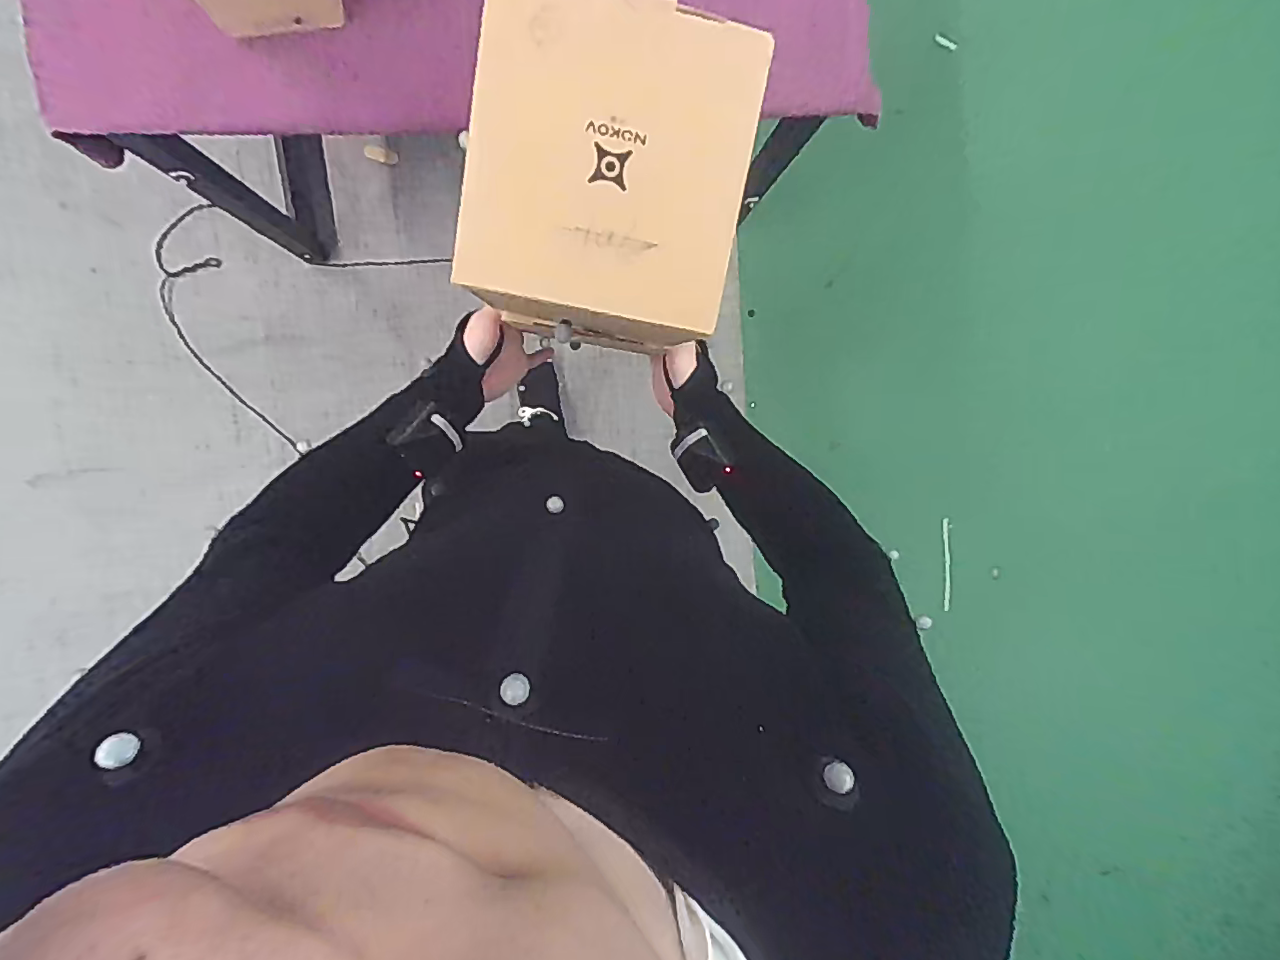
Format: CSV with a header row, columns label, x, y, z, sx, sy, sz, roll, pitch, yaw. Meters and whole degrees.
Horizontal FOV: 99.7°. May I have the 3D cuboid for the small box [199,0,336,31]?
label,x,y,z,sx,sy,sz,roll,pitch,yaw
small box,-0.506,-0.708,0.662,0.168,0.176,0.179,-12,97,-6

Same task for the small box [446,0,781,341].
label,x,y,z,sx,sy,sz,roll,pitch,yaw
small box,-0.025,-0.206,0.385,0.168,0.176,0.179,11,101,-8
